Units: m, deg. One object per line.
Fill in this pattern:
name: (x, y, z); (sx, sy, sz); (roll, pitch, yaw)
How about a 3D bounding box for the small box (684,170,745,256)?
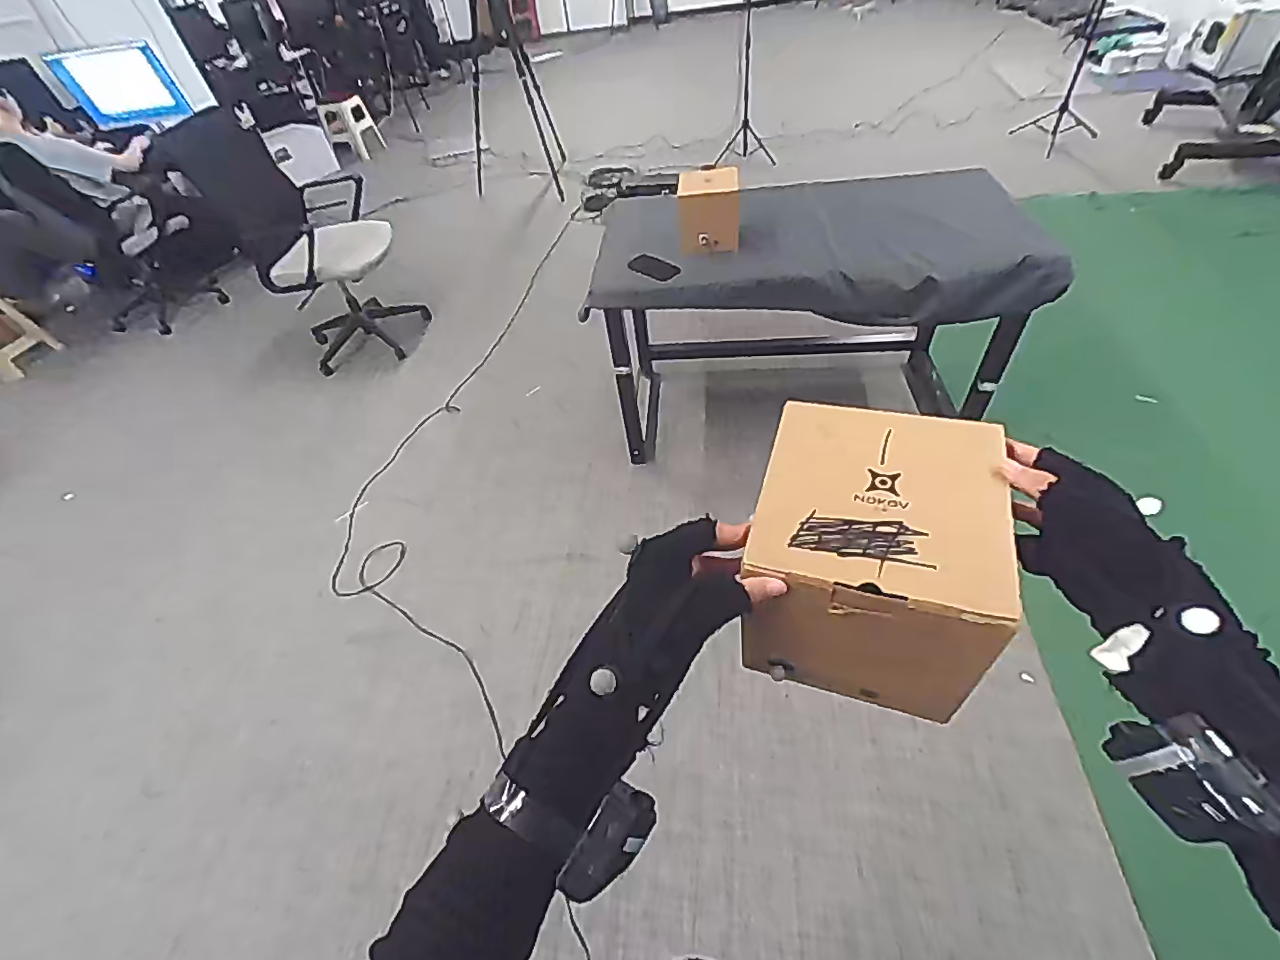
small box: (0.217, -0.770, 1.565); (0.168, 0.176, 0.179); (-1, 49, 9)
